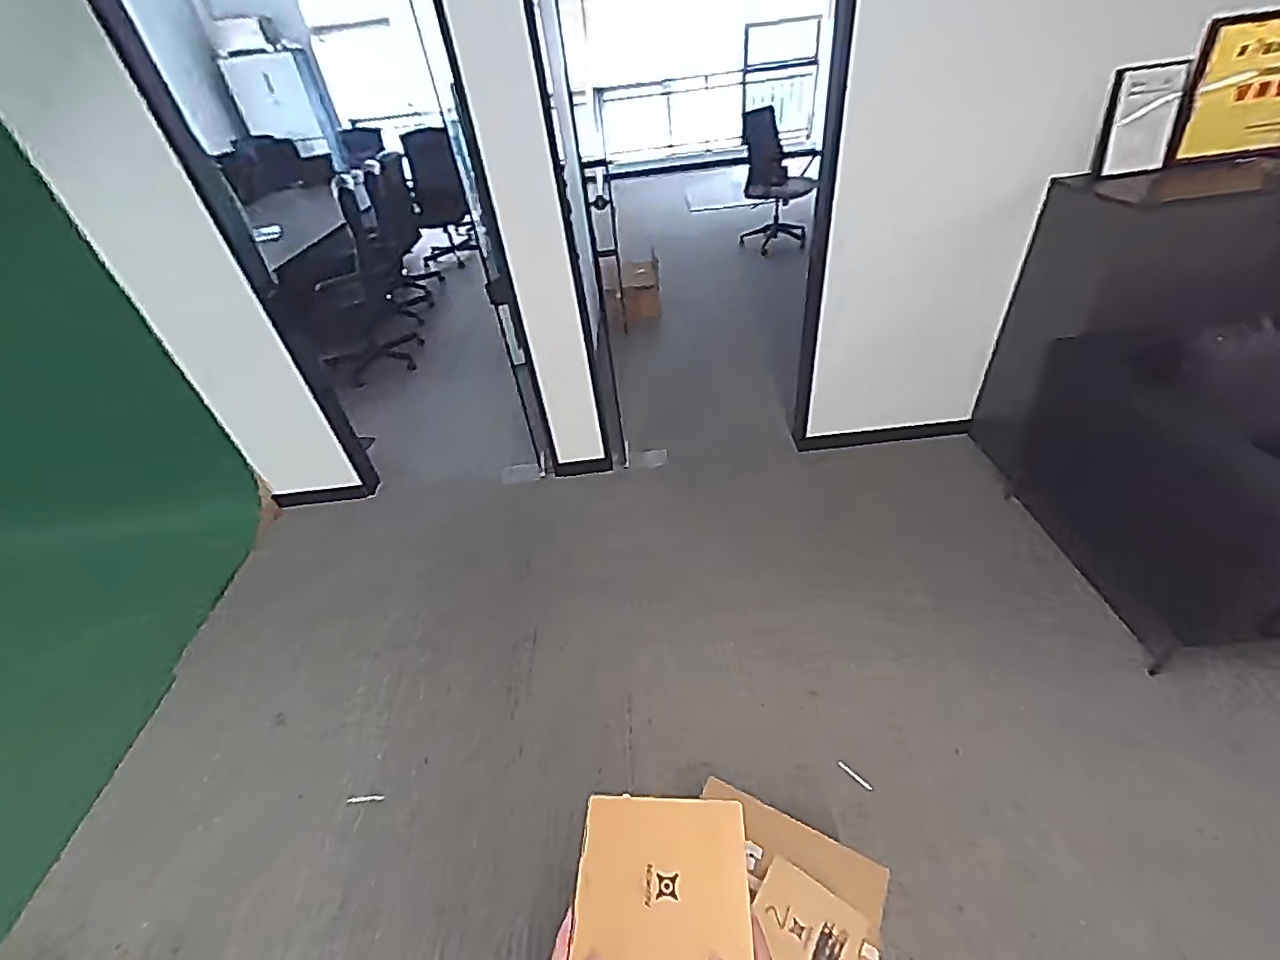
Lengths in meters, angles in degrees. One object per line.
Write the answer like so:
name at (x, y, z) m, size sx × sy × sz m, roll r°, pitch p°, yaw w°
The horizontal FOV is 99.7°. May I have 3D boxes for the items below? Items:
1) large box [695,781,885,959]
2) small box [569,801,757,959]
large box at (0.271, 0.951, 1.175) m, size 0.408 × 0.320 × 0.320 m, roll 15°, pitch 44°, yaw 26°
small box at (0.029, 0.473, 0.585) m, size 0.179 × 0.176 × 0.168 m, roll -1°, pitch 38°, yaw 5°
